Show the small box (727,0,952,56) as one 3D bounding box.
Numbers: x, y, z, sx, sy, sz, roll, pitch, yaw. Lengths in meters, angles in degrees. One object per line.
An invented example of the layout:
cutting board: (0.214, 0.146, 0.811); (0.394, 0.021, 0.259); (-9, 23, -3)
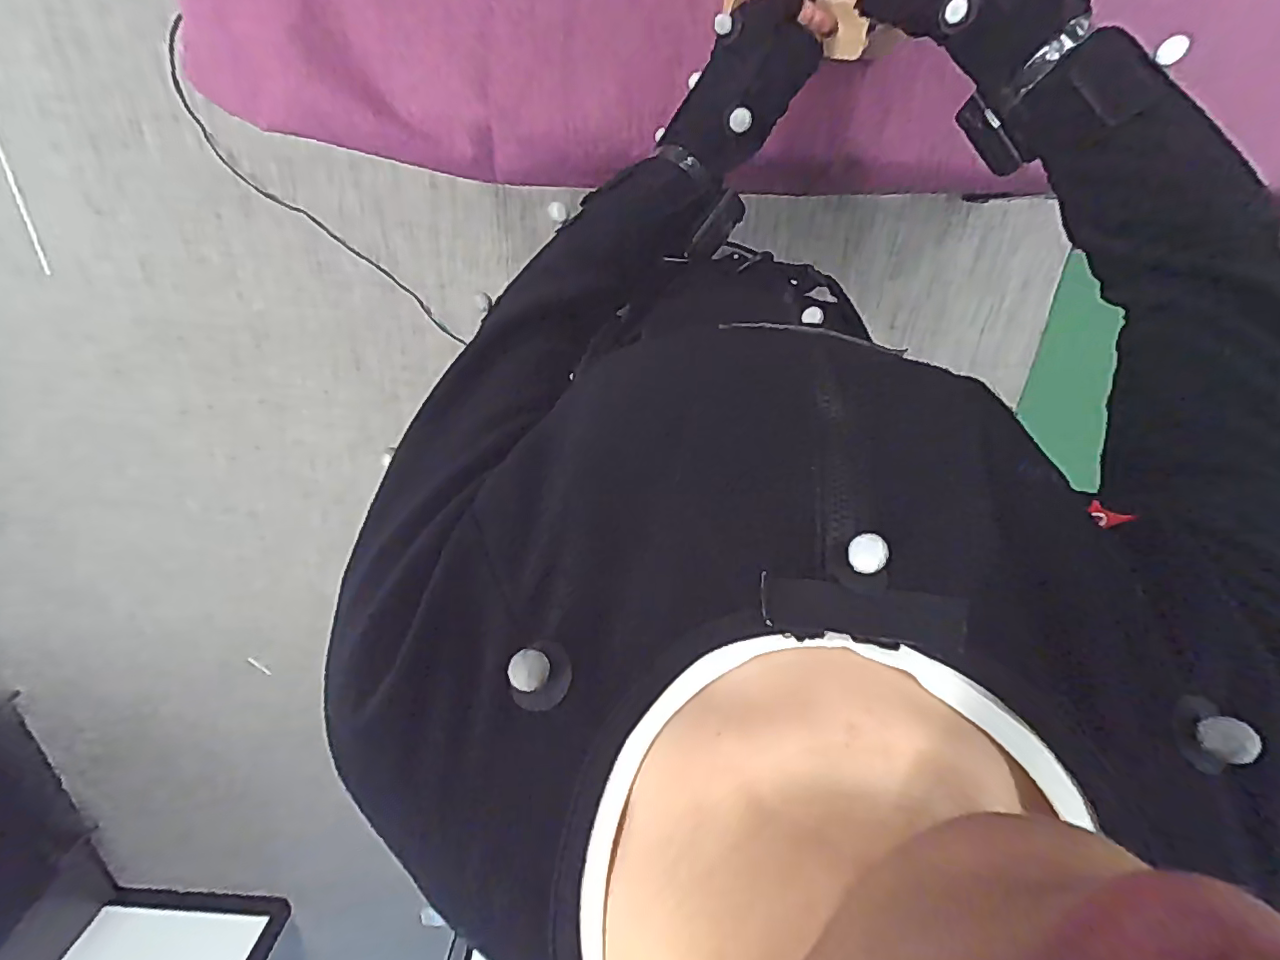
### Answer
small box: (0.167, -0.473, 0.436); (0.168, 0.176, 0.179); (5, 114, 0)
